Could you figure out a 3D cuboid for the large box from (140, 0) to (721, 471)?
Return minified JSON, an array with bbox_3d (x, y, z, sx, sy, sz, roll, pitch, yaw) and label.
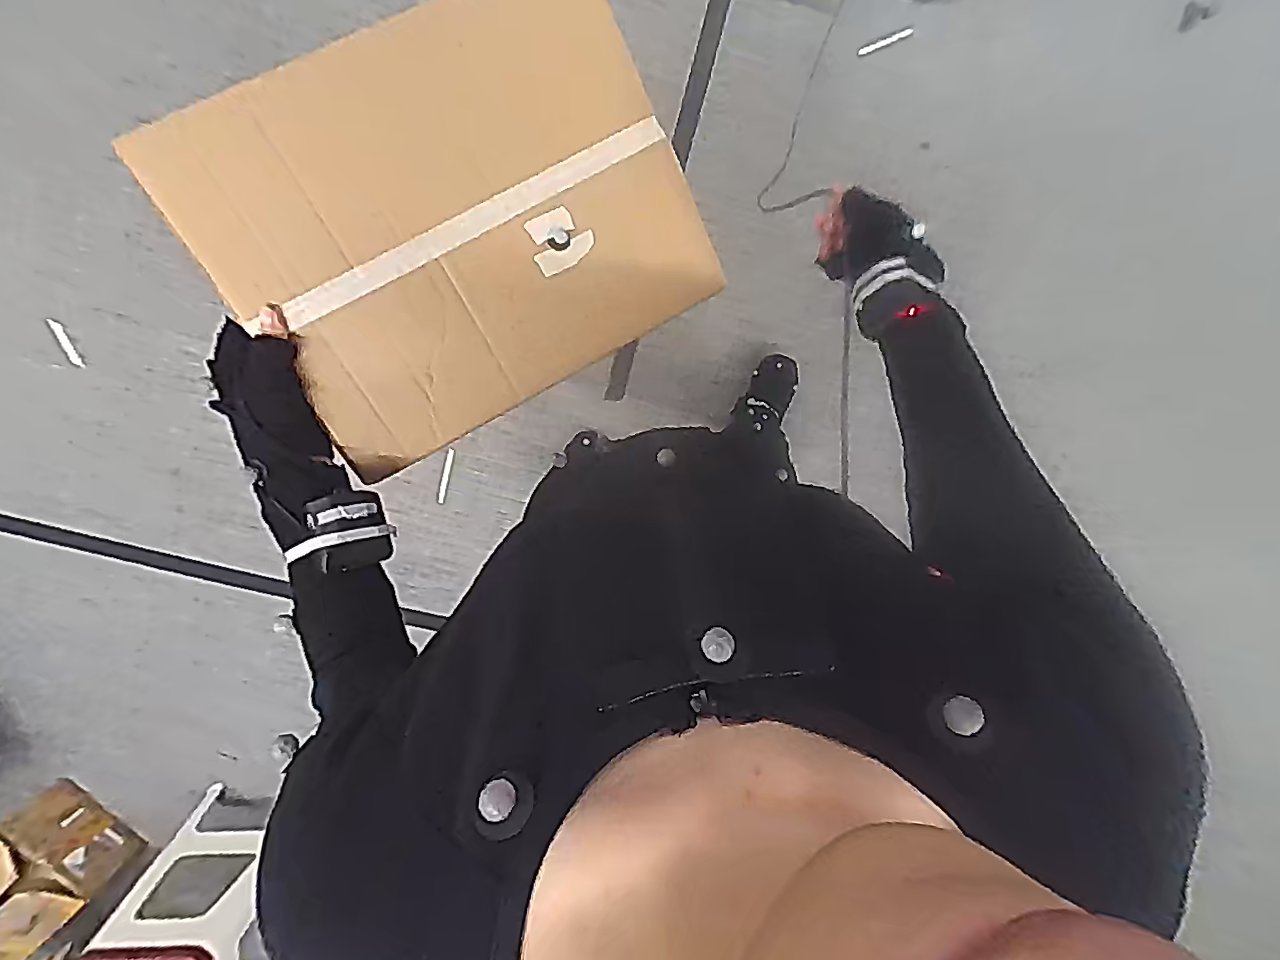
[{"bbox_3d":[-0.192,-0.264,0.622,0.408,0.320,0.320,-32,110,-8],"label":"large box"}]
